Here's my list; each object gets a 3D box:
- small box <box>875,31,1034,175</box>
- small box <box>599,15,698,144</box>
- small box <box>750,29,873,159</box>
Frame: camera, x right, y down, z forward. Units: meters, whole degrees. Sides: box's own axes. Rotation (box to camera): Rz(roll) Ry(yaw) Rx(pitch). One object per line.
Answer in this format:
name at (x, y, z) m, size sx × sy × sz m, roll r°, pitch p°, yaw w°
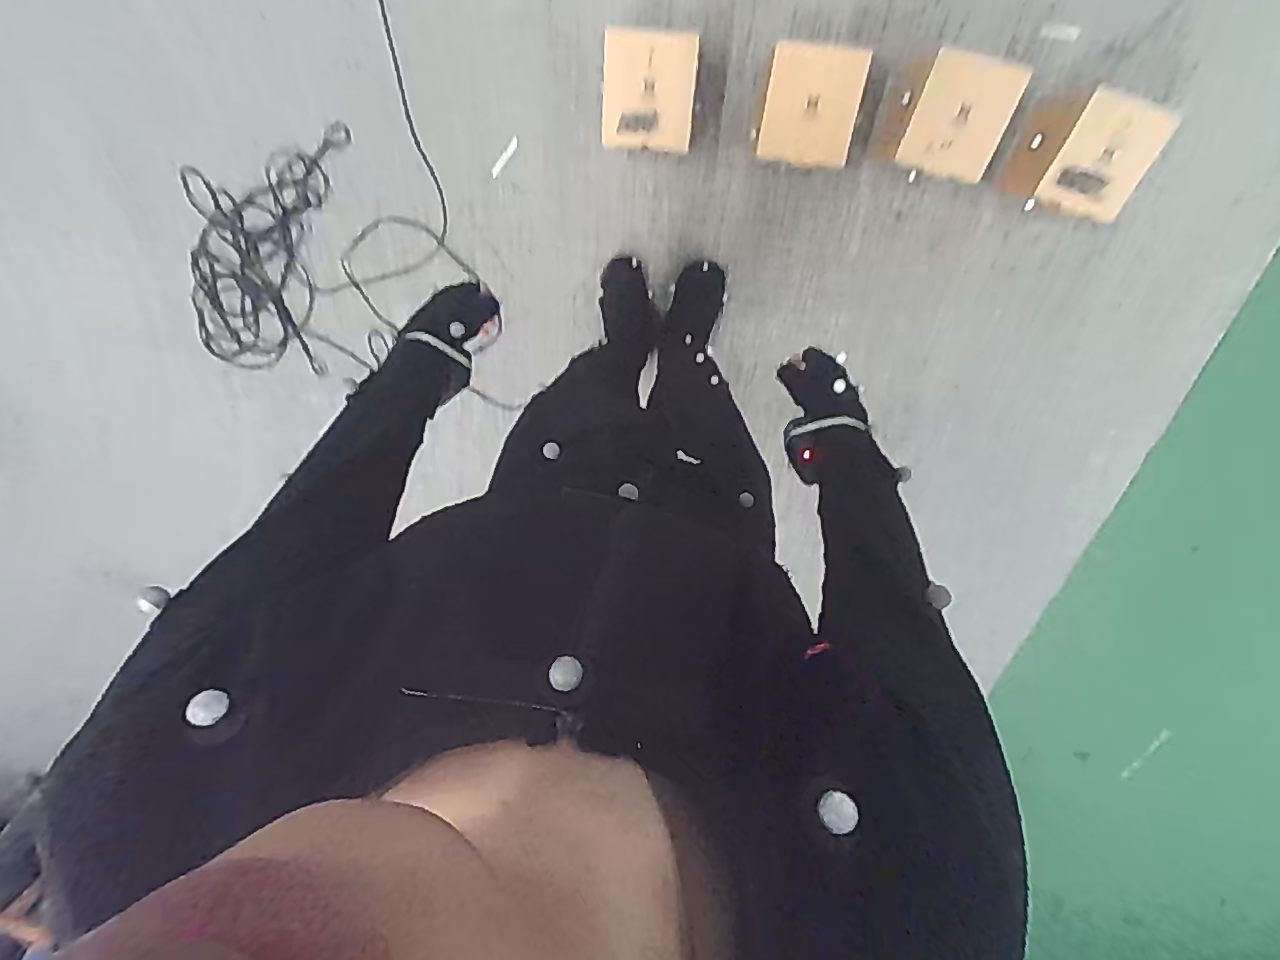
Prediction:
small box at (0.563, -0.687, 1.000) m, size 0.168 × 0.176 × 0.179 m, roll 14°, pitch 123°, yaw -2°
small box at (0.019, -0.743, 1.021) m, size 0.168 × 0.176 × 0.179 m, roll 6°, pitch 121°, yaw 2°
small box at (0.307, -0.712, 1.012) m, size 0.168 × 0.176 × 0.179 m, roll 7°, pitch 122°, yaw 1°
